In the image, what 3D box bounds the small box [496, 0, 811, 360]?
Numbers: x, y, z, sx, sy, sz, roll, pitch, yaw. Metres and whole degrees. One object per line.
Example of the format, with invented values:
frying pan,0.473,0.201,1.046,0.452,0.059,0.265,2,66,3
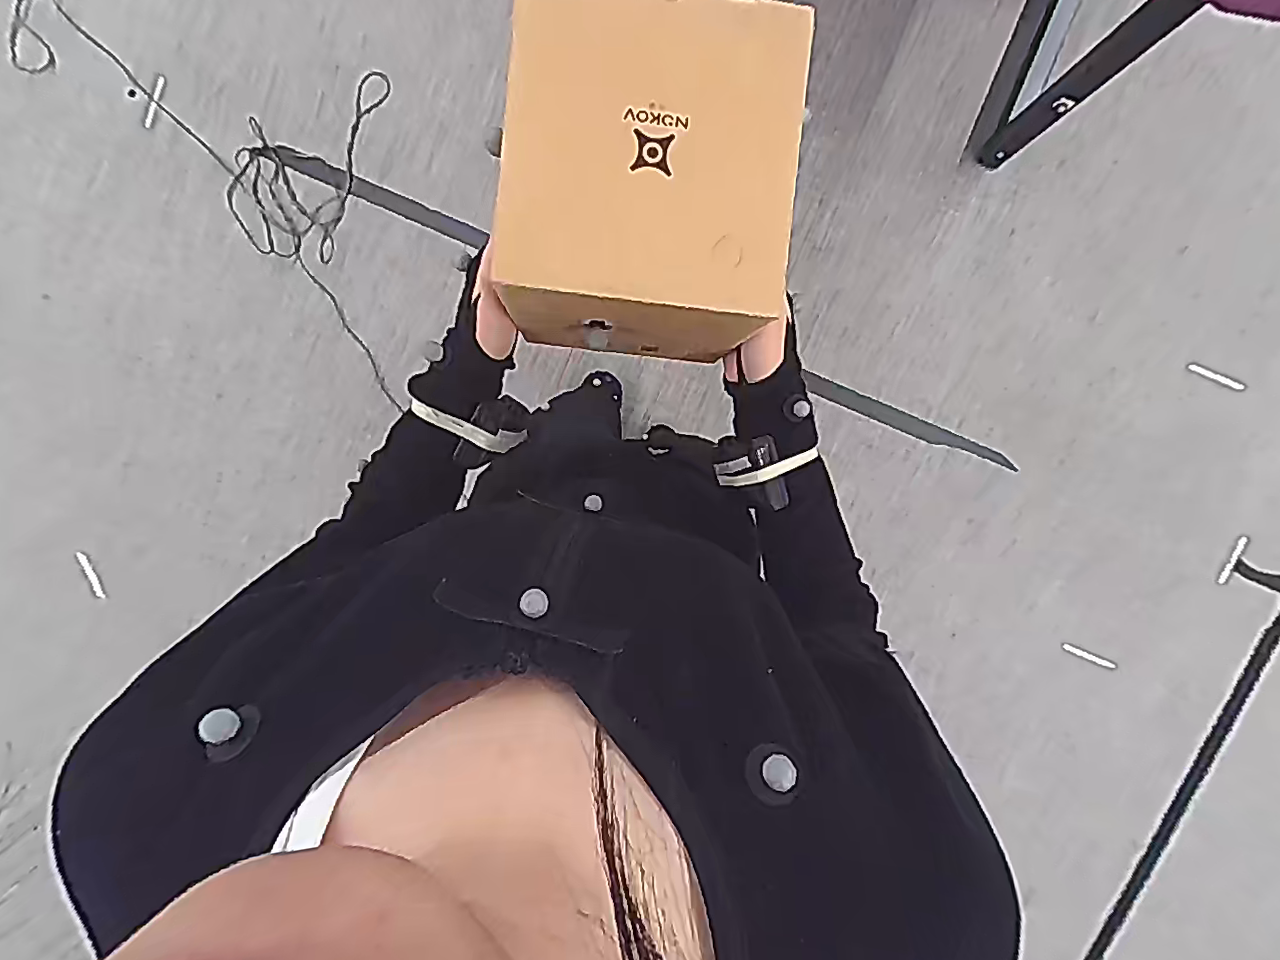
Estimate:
small box,0.002,-0.190,0.384,0.168,0.176,0.179,5,92,-6
